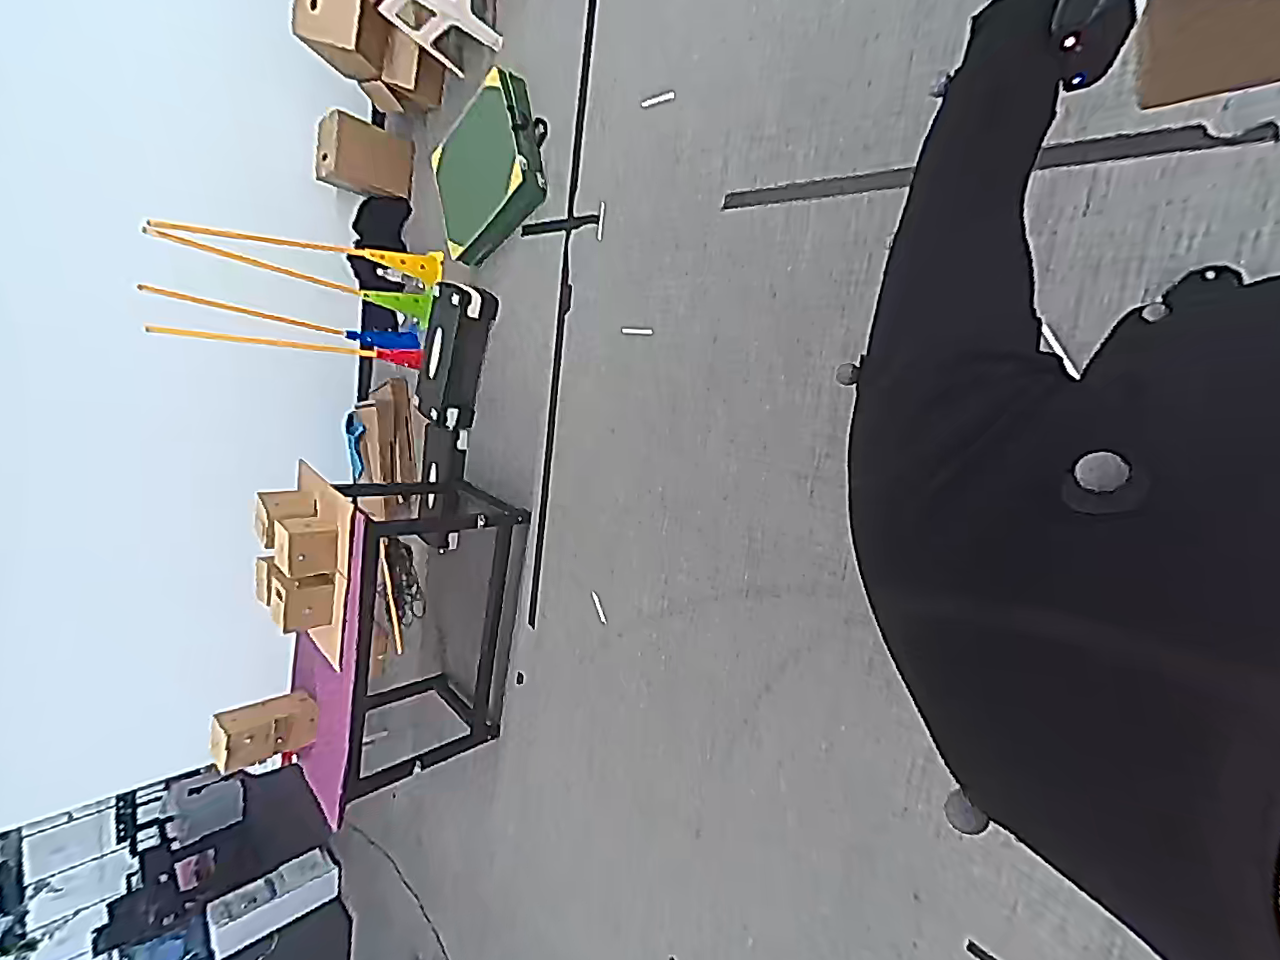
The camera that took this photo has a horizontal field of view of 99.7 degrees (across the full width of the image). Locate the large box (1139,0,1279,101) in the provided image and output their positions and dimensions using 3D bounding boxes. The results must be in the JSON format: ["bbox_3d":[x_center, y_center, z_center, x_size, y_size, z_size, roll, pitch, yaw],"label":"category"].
[{"bbox_3d":[0.590,-0.503,0.319,0.408,0.320,0.320,11,108,40],"label":"large box"}]
